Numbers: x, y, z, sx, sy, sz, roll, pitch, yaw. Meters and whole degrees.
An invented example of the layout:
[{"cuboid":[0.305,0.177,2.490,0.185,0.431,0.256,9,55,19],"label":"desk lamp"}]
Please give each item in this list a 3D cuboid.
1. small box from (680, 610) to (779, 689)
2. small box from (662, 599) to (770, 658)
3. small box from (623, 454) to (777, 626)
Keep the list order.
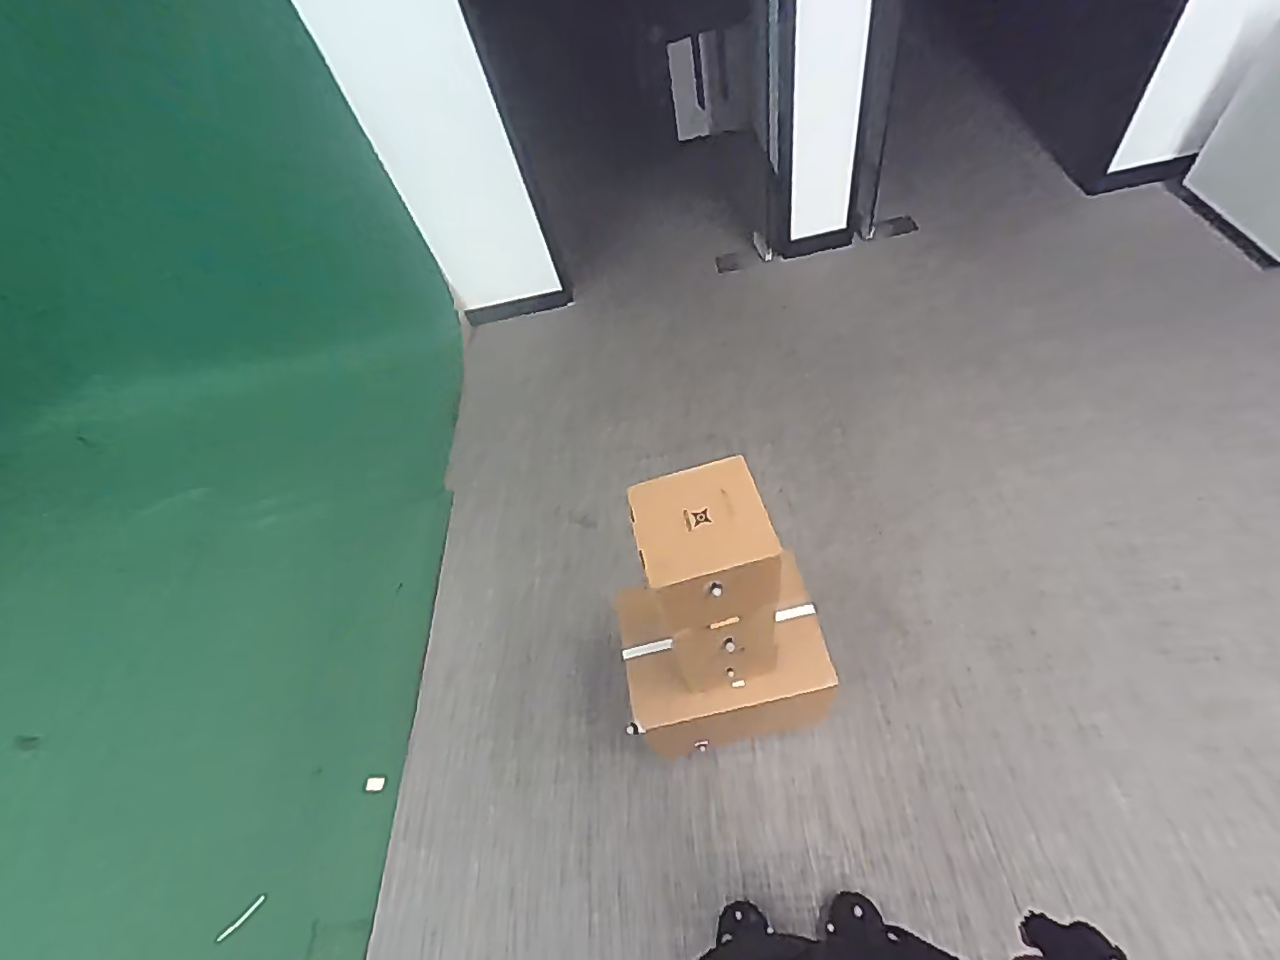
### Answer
[{"cuboid":[0.151,0.281,1.040,0.179,0.176,0.168,-18,53,0],"label":"small box"},{"cuboid":[0.115,0.185,0.913,0.168,0.176,0.179,-17,54,1],"label":"small box"},{"cuboid":[0.088,0.093,0.781,0.179,0.176,0.168,-16,55,1],"label":"small box"}]
